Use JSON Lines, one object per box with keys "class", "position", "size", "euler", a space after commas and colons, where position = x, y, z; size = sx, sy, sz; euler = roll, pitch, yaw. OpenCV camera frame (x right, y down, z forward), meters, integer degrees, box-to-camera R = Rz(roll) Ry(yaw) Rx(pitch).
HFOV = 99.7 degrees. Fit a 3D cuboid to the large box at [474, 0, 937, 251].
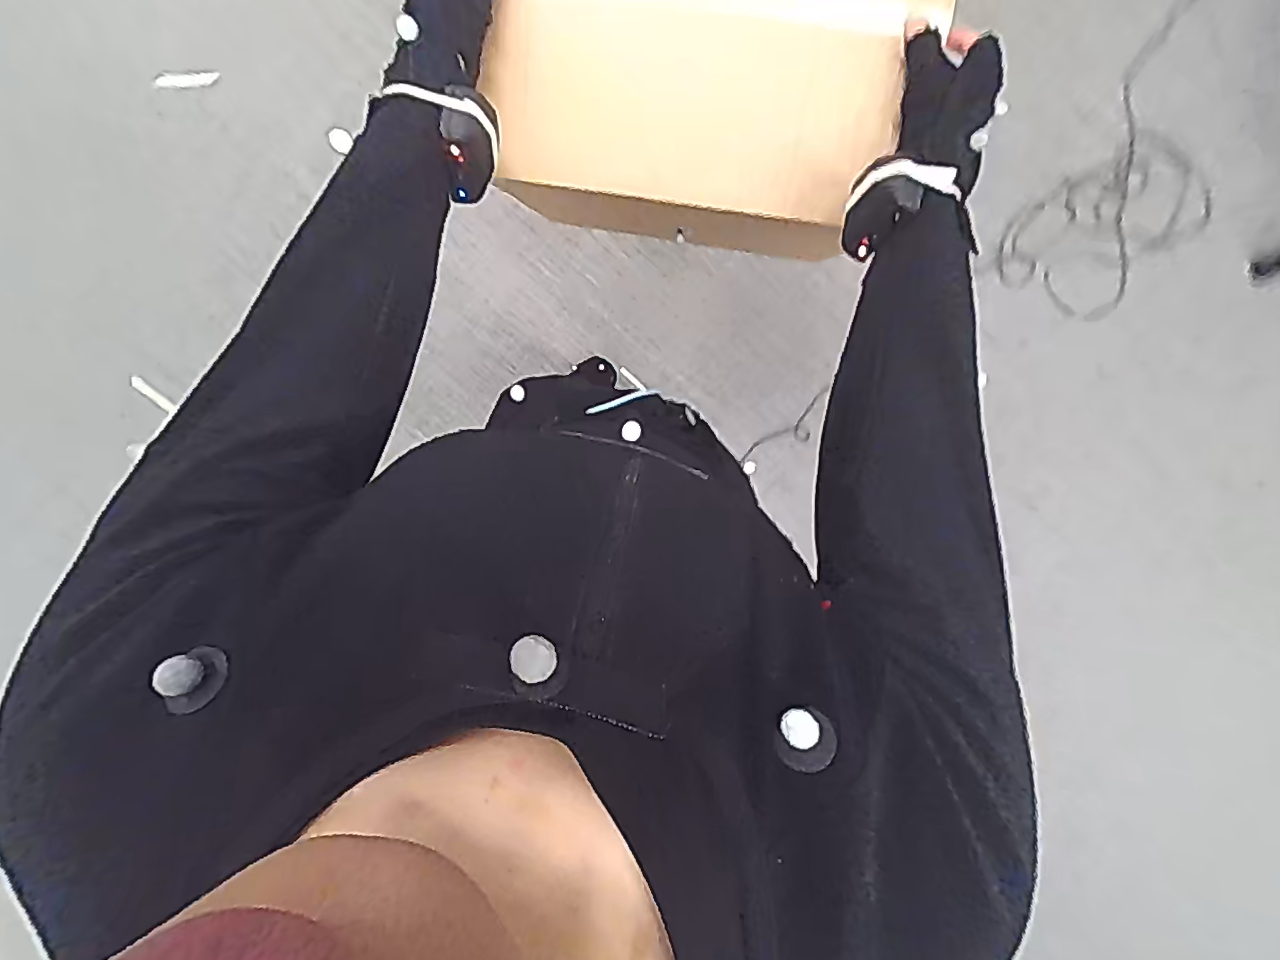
{"class": "large box", "position": [0.067, -0.454, 0.611], "size": [0.408, 0.320, 0.320], "euler": [9, 107, 3]}
